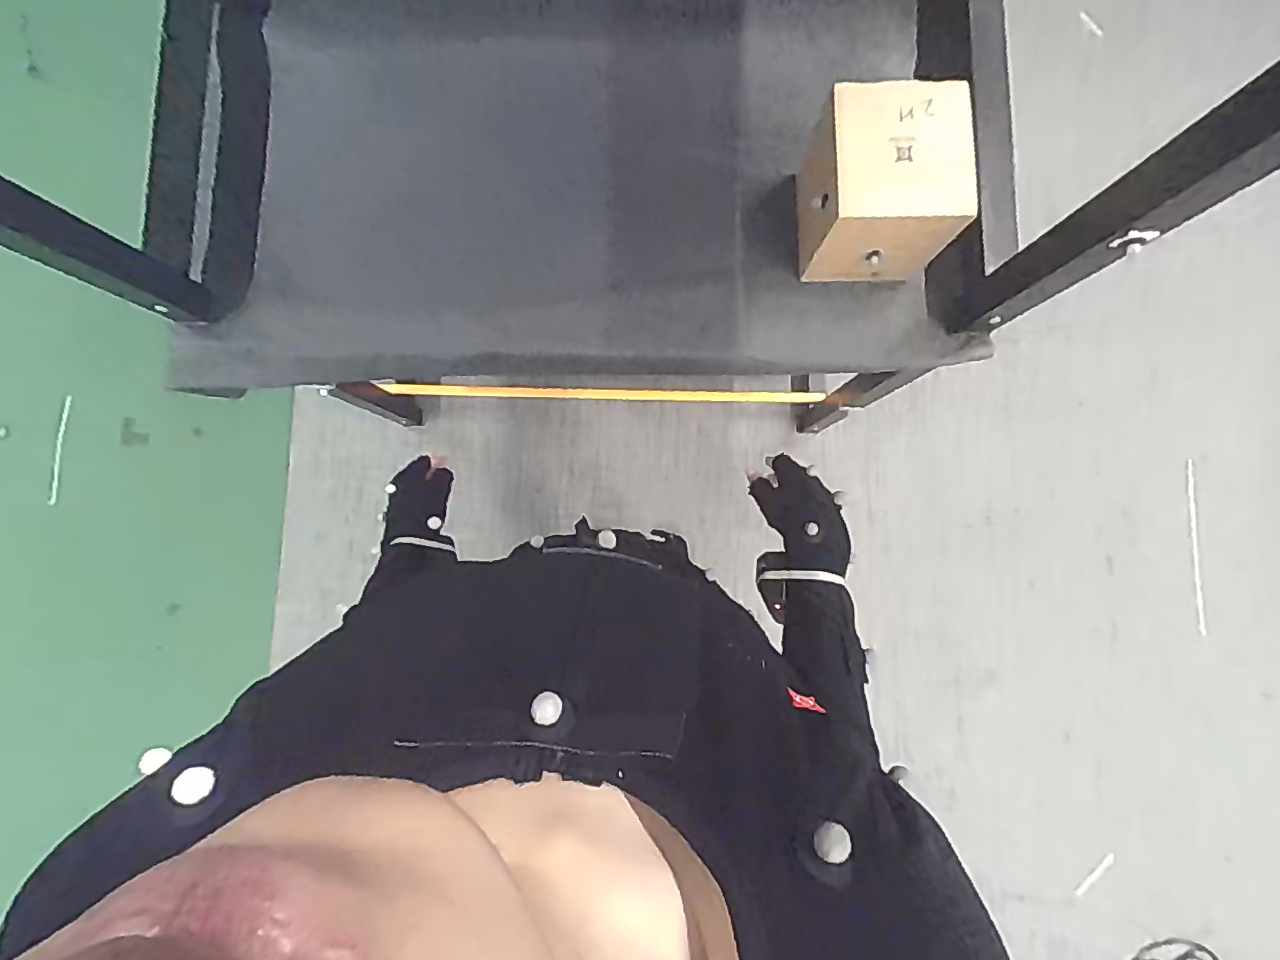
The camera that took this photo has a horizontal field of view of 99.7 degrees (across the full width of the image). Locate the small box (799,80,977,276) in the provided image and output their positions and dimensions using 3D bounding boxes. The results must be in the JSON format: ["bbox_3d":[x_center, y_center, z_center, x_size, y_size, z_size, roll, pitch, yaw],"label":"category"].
[{"bbox_3d":[0.319,-0.391,0.729,0.168,0.176,0.179,-1,84,0],"label":"small box"}]
